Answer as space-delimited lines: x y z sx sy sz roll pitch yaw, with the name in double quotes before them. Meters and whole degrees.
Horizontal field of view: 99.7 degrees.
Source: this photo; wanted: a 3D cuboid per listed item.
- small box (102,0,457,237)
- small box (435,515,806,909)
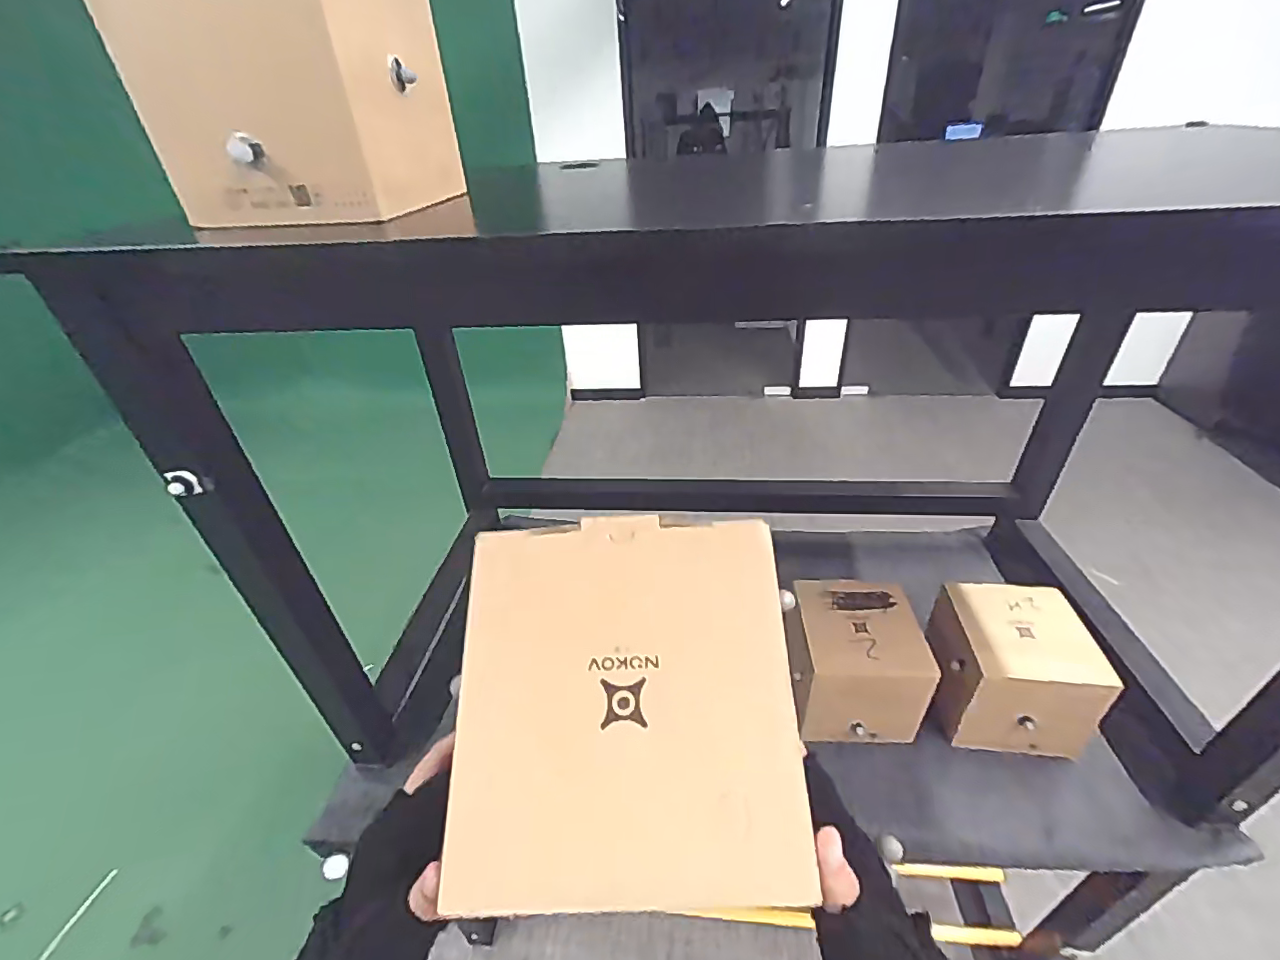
"small box" -0.271 -0.310 0.454 0.168 0.176 0.179 1 35 7
"small box" -0.007 0.136 0.338 0.168 0.176 0.179 -3 64 2
